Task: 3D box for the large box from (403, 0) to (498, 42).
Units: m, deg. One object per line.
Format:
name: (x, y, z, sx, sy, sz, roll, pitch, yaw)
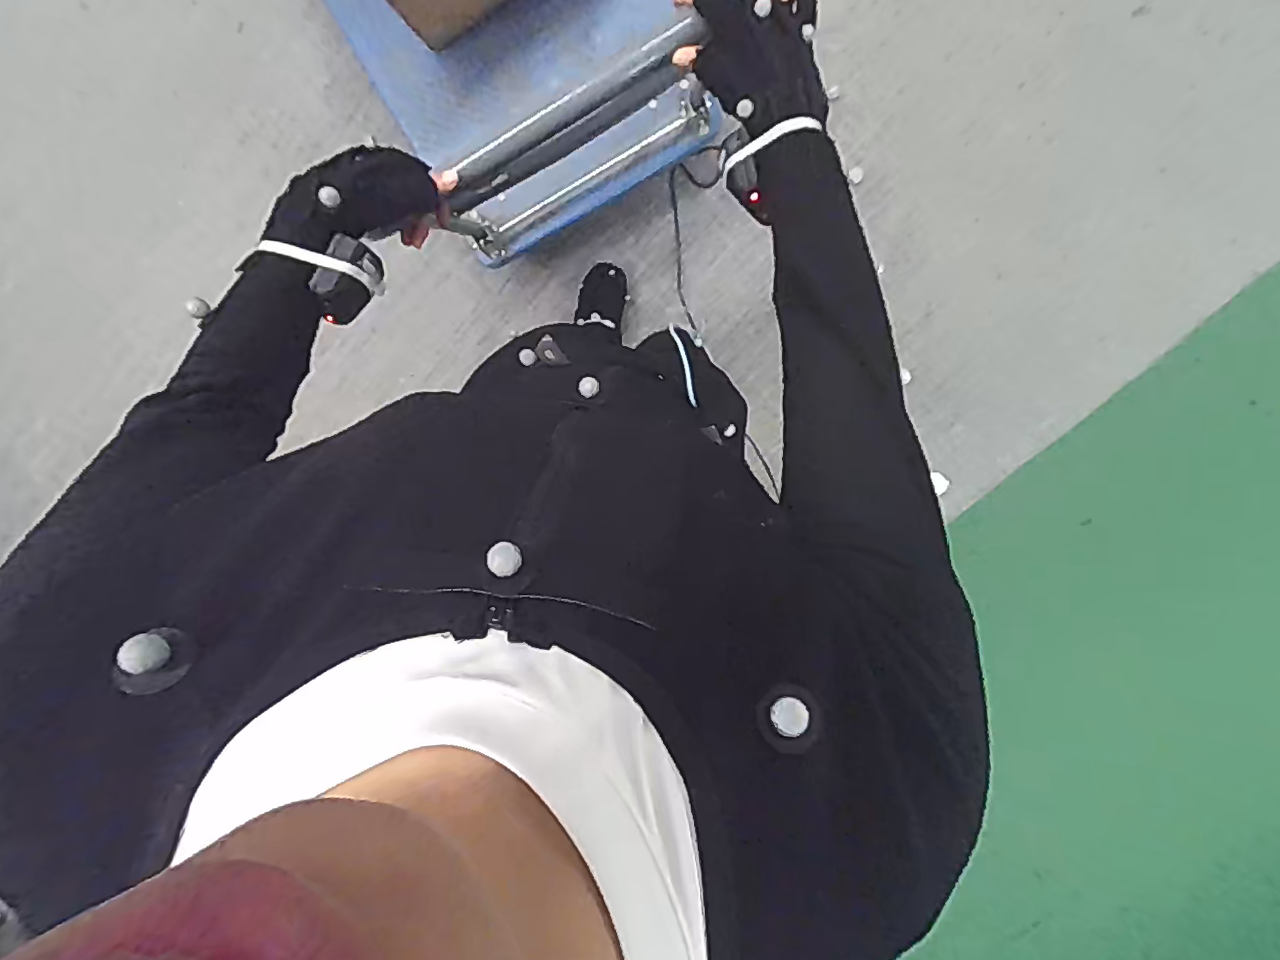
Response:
large box: (-0.284, -0.989, 0.806, 0.408, 0.320, 0.320, -30, 108, 11)
